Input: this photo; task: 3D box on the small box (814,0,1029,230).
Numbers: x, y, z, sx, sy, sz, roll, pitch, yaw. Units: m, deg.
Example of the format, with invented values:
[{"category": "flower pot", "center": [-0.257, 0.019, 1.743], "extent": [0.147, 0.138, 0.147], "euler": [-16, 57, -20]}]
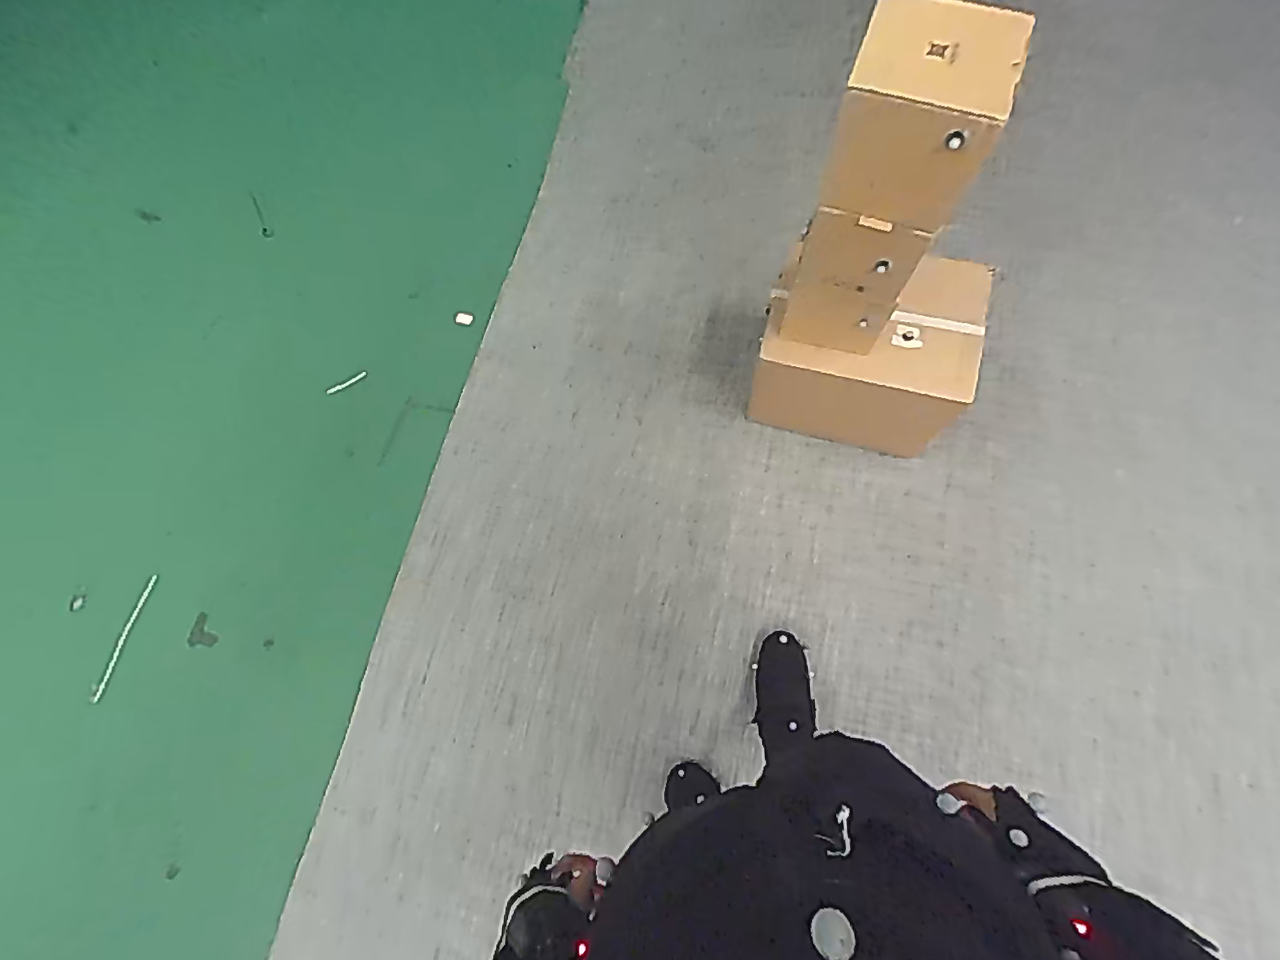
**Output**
[{"category": "small box", "center": [0.340, -0.452, 0.685], "extent": [0.179, 0.176, 0.168], "euler": [19, 75, 9]}]

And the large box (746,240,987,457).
[{"category": "large box", "center": [0.478, -0.281, 1.217], "extent": [0.408, 0.320, 0.320], "euler": [15, 76, 9]}]

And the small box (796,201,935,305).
[{"category": "small box", "center": [0.354, -0.403, 0.840], "extent": [0.168, 0.176, 0.179], "euler": [18, 74, 9]}]
